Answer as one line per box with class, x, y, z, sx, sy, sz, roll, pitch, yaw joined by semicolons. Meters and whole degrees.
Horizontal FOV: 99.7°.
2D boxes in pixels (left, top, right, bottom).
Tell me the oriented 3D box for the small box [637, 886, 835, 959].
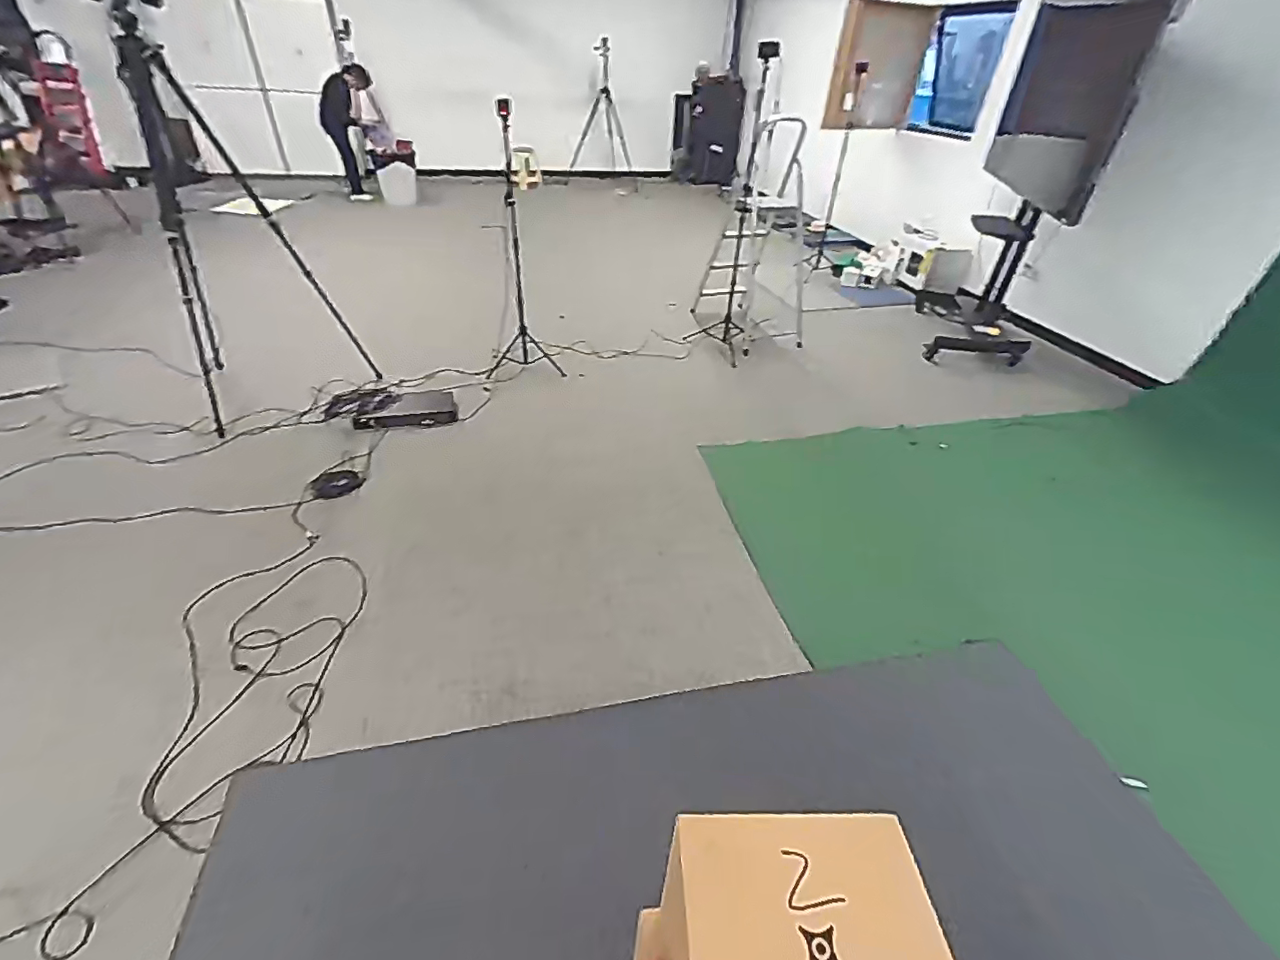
small box;0.087;0.499;0.476;0.168;0.176;0.179;-3;37;-7
